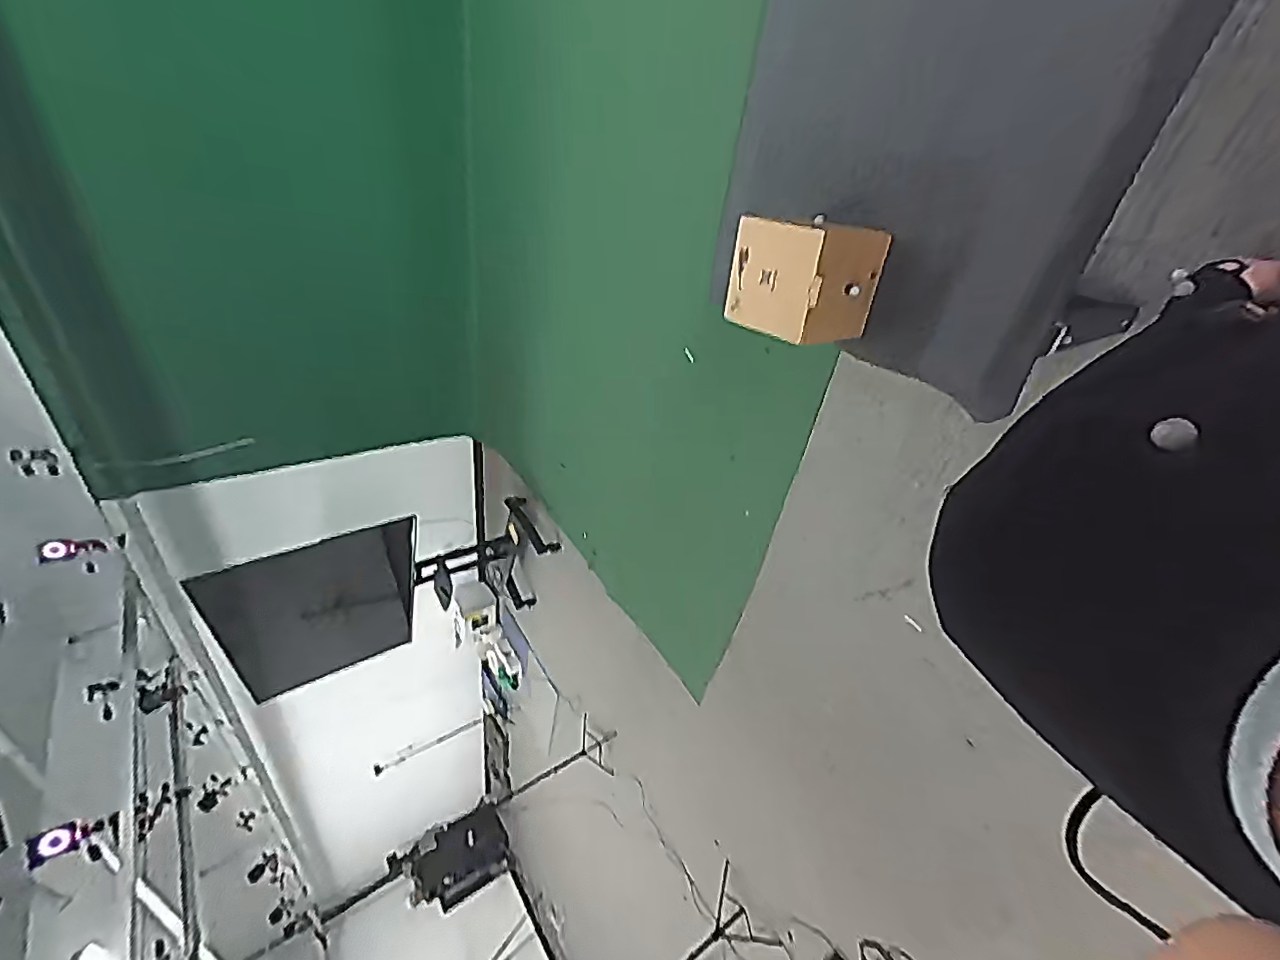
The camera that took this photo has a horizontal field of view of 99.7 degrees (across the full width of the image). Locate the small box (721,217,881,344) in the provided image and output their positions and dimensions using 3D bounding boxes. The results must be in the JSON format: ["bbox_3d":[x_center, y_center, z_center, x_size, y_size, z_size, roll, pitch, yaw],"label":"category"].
[{"bbox_3d":[0.266,-0.339,0.904,0.179,0.176,0.168,37,132,42],"label":"small box"}]
